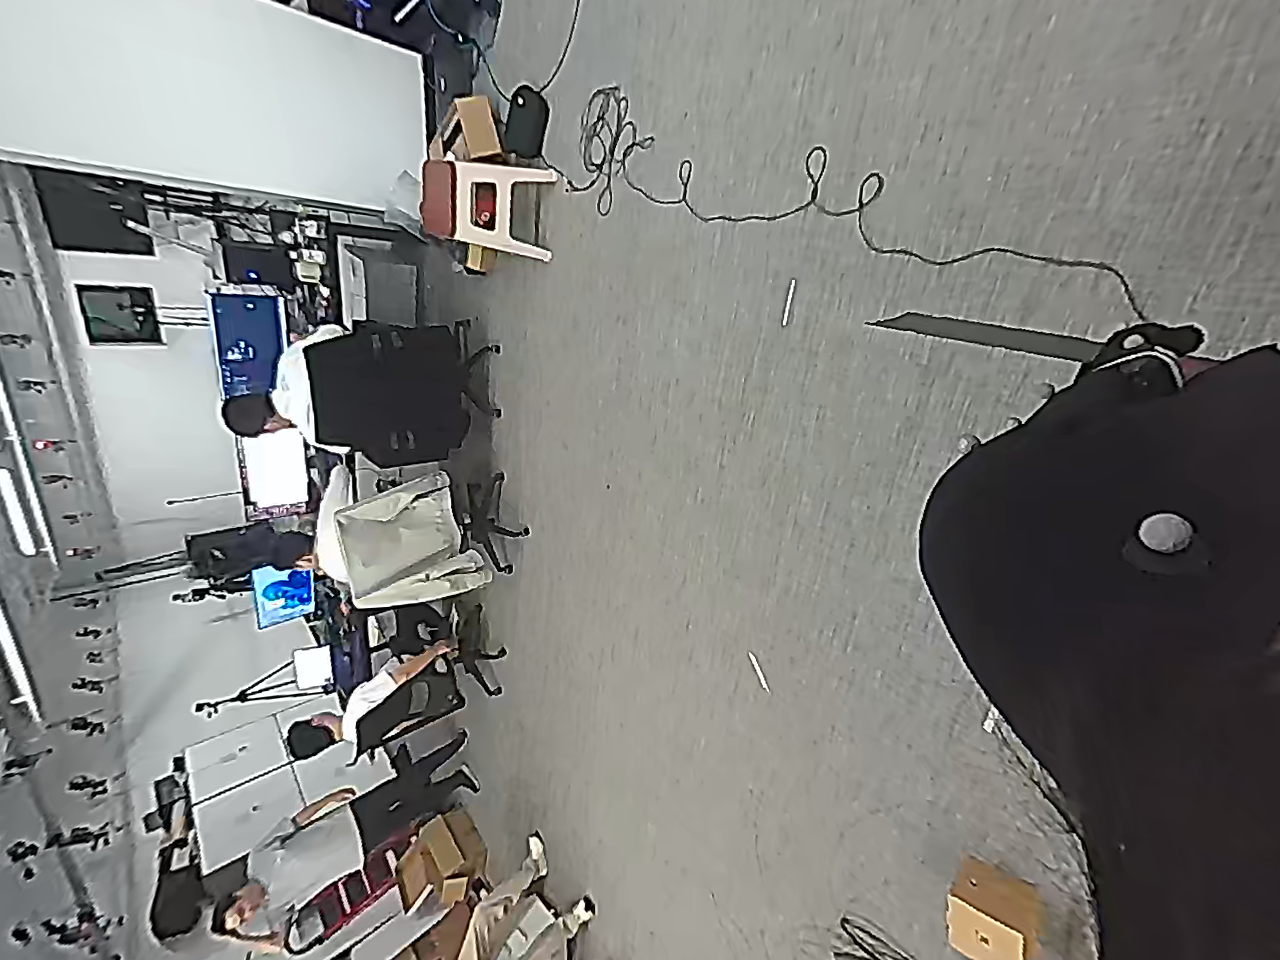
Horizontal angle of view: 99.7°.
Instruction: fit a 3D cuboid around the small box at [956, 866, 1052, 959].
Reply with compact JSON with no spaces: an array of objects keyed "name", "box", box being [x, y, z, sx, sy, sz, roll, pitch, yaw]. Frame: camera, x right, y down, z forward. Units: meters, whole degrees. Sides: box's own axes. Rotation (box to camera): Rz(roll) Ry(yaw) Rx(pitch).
[{"name":"small box","box":[0.968,1.180,1.438,0.179,0.176,0.168,2,102,48]}]
